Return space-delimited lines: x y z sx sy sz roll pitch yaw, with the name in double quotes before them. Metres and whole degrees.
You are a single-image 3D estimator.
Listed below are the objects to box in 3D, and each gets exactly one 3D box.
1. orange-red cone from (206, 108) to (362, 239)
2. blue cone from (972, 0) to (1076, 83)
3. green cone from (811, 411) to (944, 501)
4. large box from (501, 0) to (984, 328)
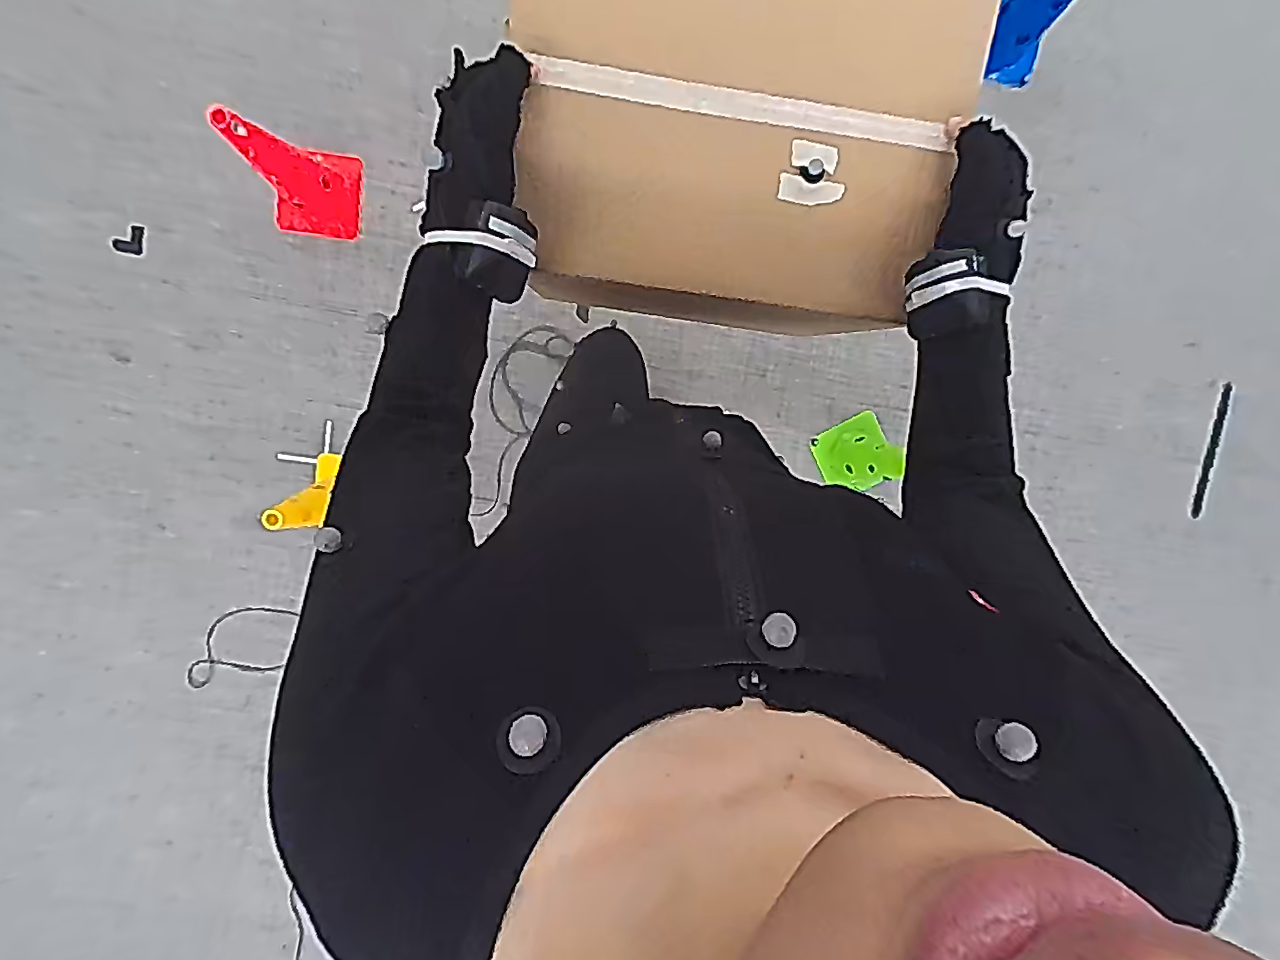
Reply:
"orange-red cone" -0.783 -0.685 1.164 0.198 0.360 0.199 7 98 -3
"blue cone" 0.952 -1.120 1.231 0.192 0.380 0.193 13 96 -6
"green cone" 0.607 -0.046 1.321 0.202 0.368 0.200 -28 98 -1
"large box" 0.076 -0.362 0.614 0.408 0.320 0.320 6 103 -5
